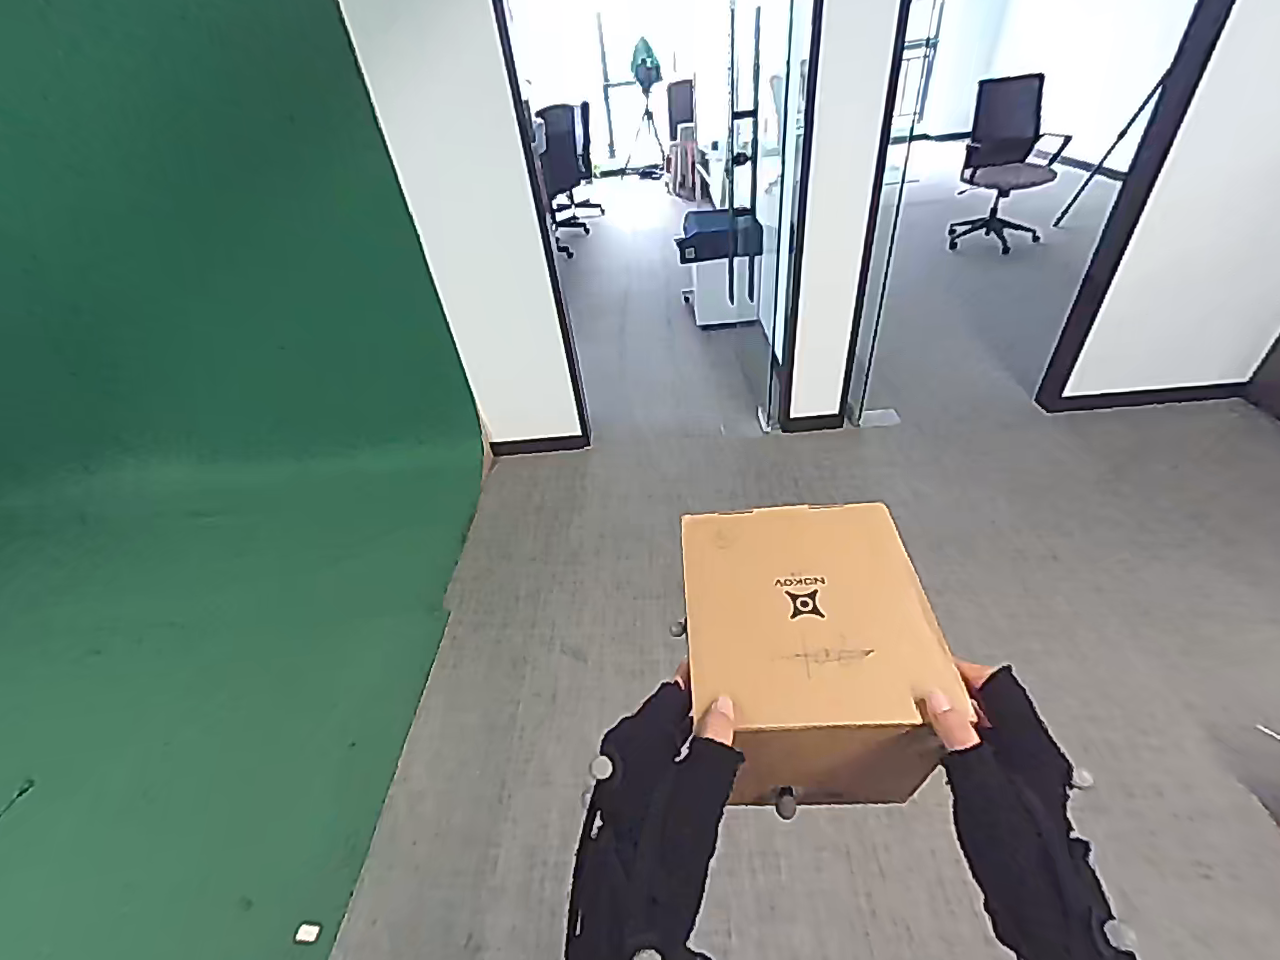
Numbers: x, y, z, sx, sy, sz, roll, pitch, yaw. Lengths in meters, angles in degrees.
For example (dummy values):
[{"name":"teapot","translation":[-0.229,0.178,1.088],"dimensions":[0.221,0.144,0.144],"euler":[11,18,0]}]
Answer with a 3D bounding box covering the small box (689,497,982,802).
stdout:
[{"name":"small box","translation":[0.125,0.136,0.432],"dimensions":[0.168,0.176,0.179],"euler":[-4,46,5]}]
